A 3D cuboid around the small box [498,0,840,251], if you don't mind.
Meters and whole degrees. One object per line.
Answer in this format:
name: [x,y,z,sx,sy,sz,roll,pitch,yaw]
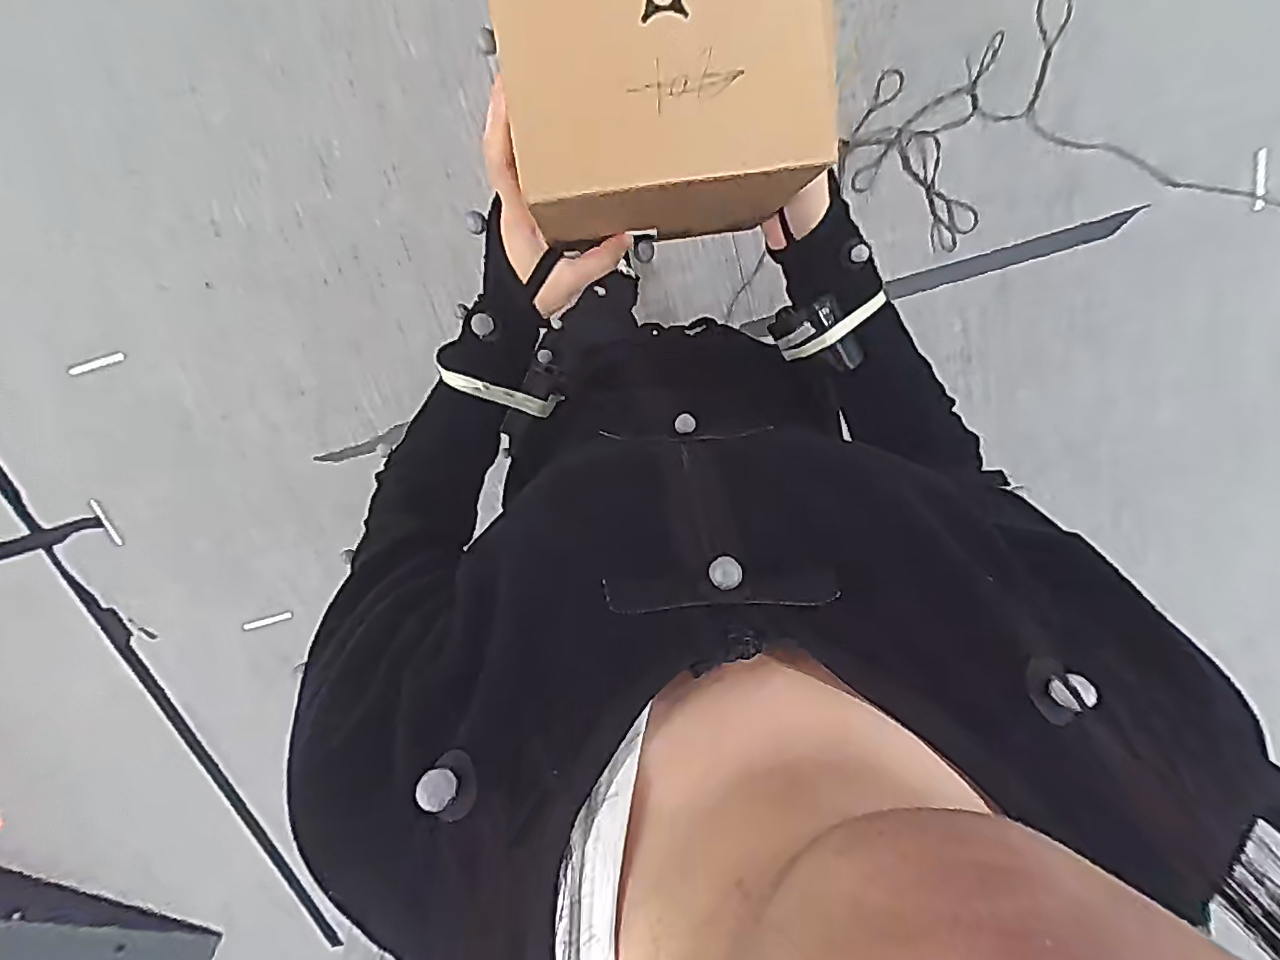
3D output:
small box: [0.007,-0.258,0.336,0.168,0.176,0.179,-8,104,0]
